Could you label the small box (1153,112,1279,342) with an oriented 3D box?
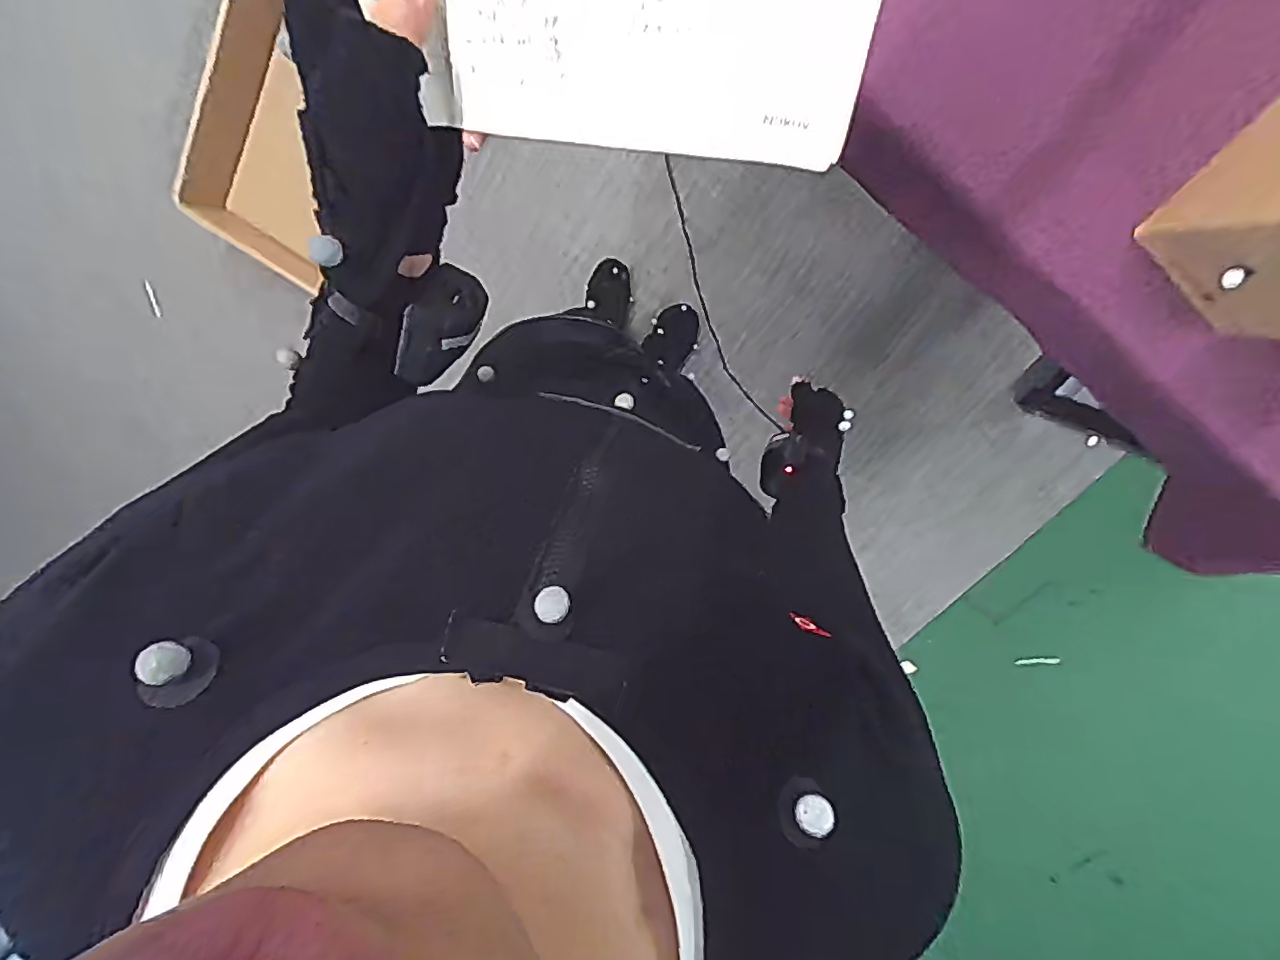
[{"bbox_3d":[0.647,-0.242,0.504,0.168,0.176,0.179,40,110,-10],"label":"small box"}]
